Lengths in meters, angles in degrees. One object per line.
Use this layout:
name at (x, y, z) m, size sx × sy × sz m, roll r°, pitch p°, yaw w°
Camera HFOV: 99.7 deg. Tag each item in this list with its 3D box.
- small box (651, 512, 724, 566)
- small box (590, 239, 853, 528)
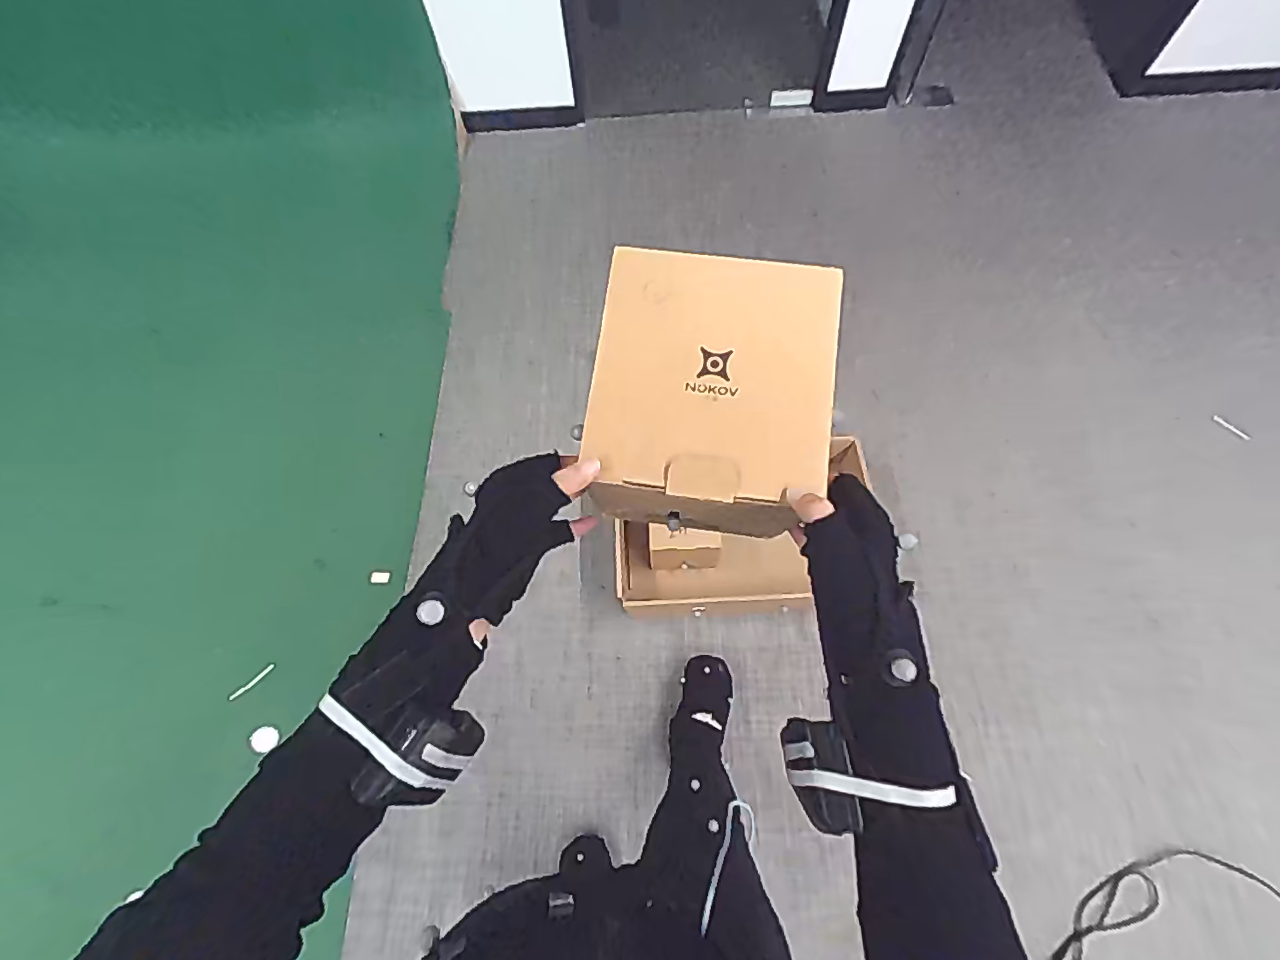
small box at (0.110, 0.103, 1.320) m, size 0.168 × 0.176 × 0.179 m, roll -2°, pitch 65°, yaw 2°
small box at (0.060, -0.063, 0.447) m, size 0.168 × 0.176 × 0.179 m, roll 8°, pitch 80°, yaw 3°
